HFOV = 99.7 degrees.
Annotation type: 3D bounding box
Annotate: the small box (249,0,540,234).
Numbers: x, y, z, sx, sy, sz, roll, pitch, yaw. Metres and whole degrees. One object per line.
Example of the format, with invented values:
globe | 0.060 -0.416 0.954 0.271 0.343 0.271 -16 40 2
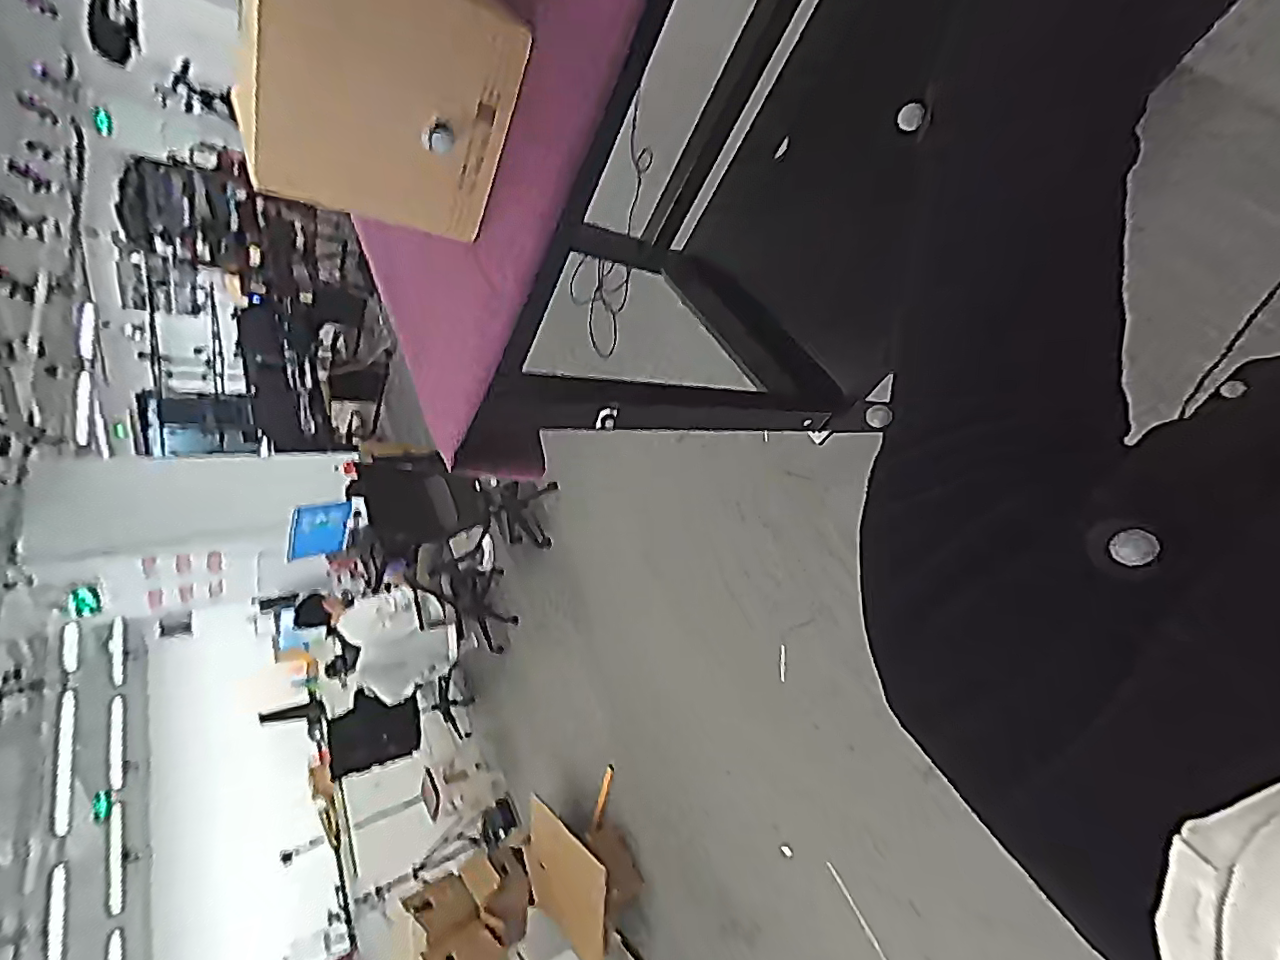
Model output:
small box | -0.207 -0.329 0.442 0.179 0.176 0.168 58 133 30
